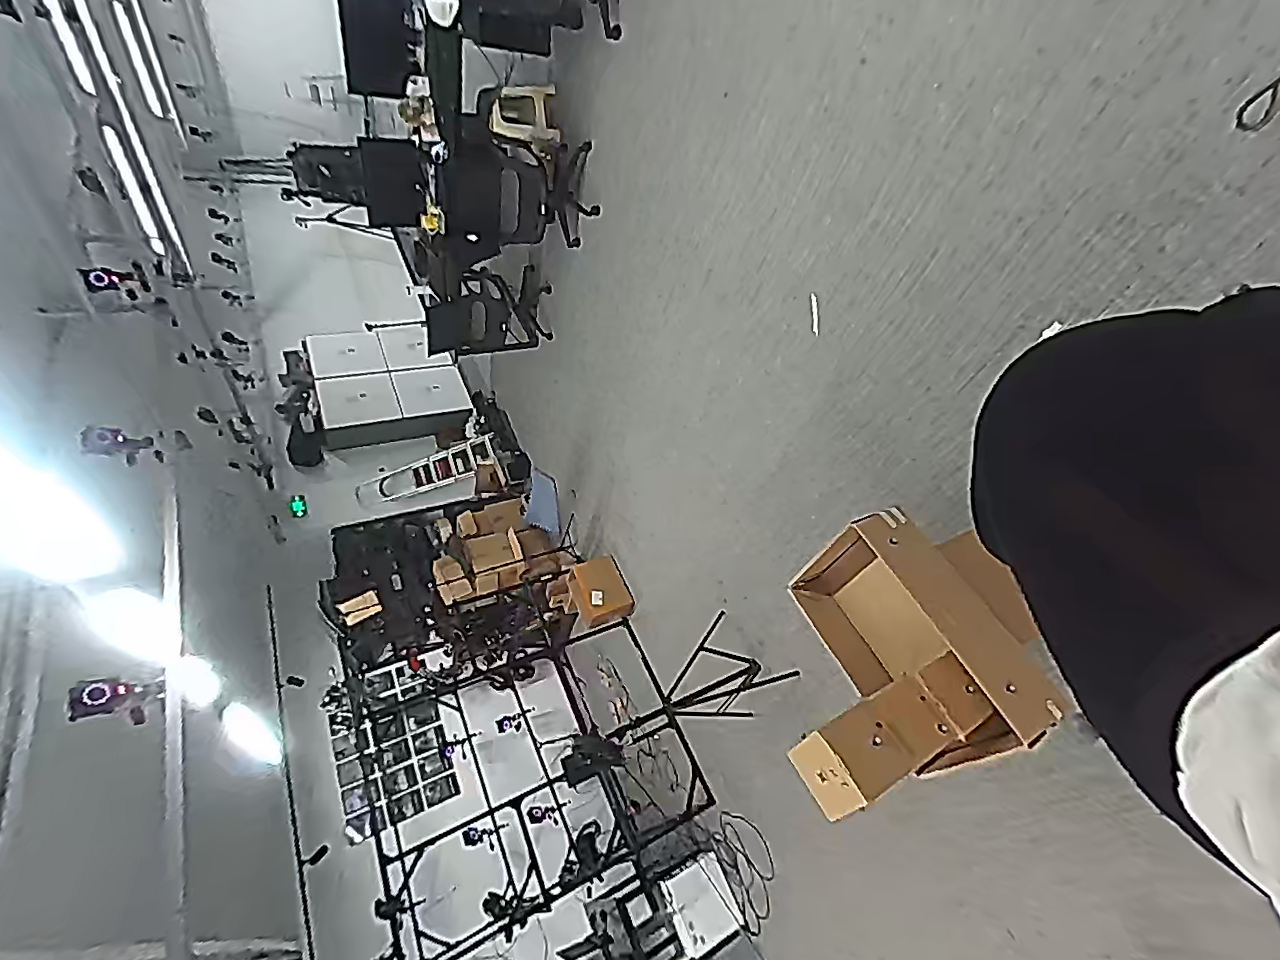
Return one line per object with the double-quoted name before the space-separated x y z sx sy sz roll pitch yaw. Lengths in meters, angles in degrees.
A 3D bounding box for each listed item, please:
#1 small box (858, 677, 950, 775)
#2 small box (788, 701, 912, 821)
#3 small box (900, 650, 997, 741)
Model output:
"small box" 0.622 0.612 1.331 0.168 0.176 0.179 58 149 28
"small box" 0.483 0.646 1.249 0.168 0.176 0.179 55 146 31
"small box" 0.767 0.568 1.396 0.168 0.176 0.179 58 148 28
